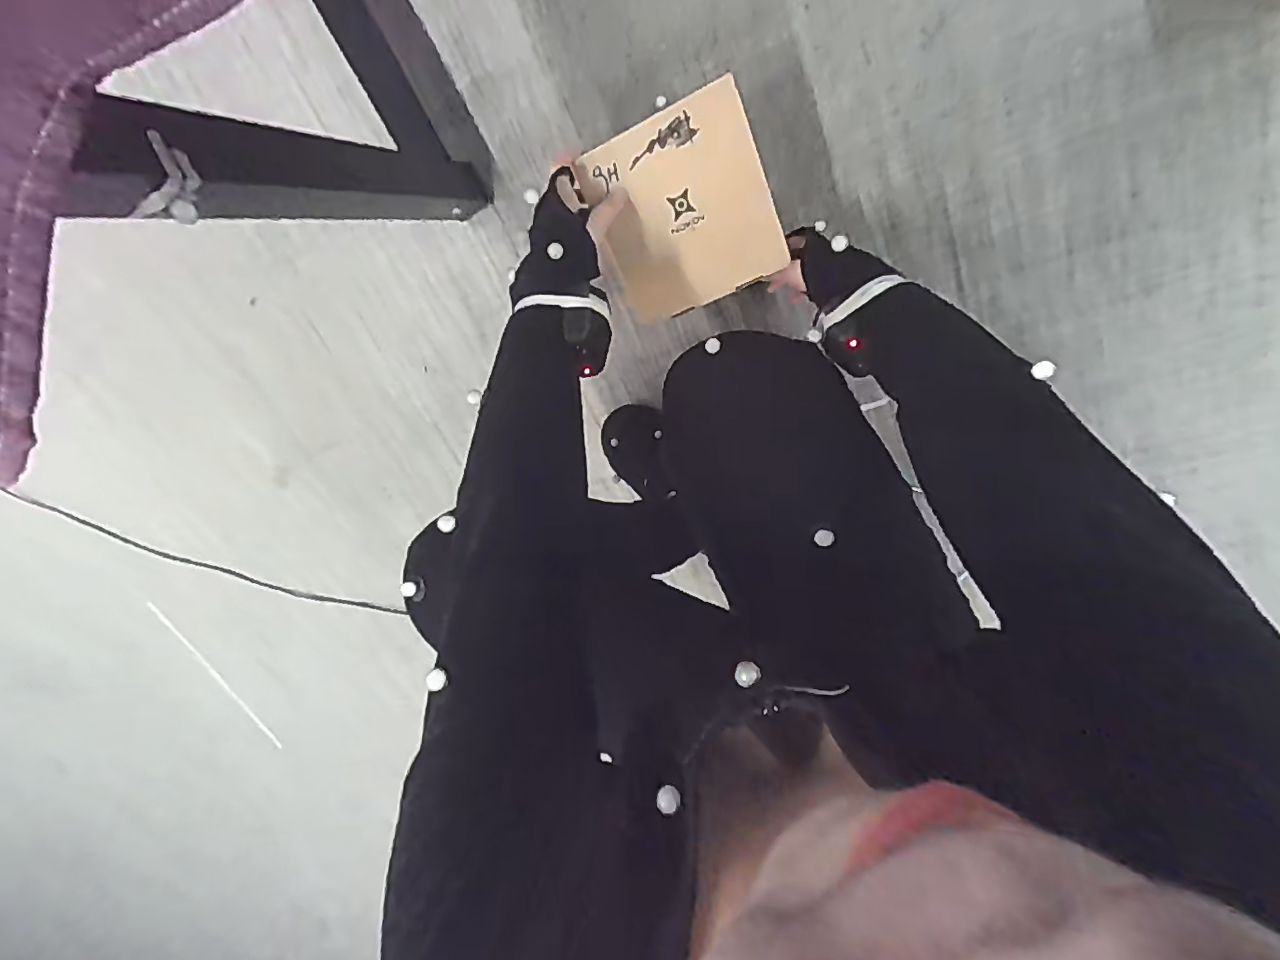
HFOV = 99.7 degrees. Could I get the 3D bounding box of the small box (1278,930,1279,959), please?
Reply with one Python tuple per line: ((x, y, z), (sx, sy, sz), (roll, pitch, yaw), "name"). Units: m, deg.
((1.217, 0.862, 0.886), (0.168, 0.176, 0.179), (-19, 109, 21), "small box")
